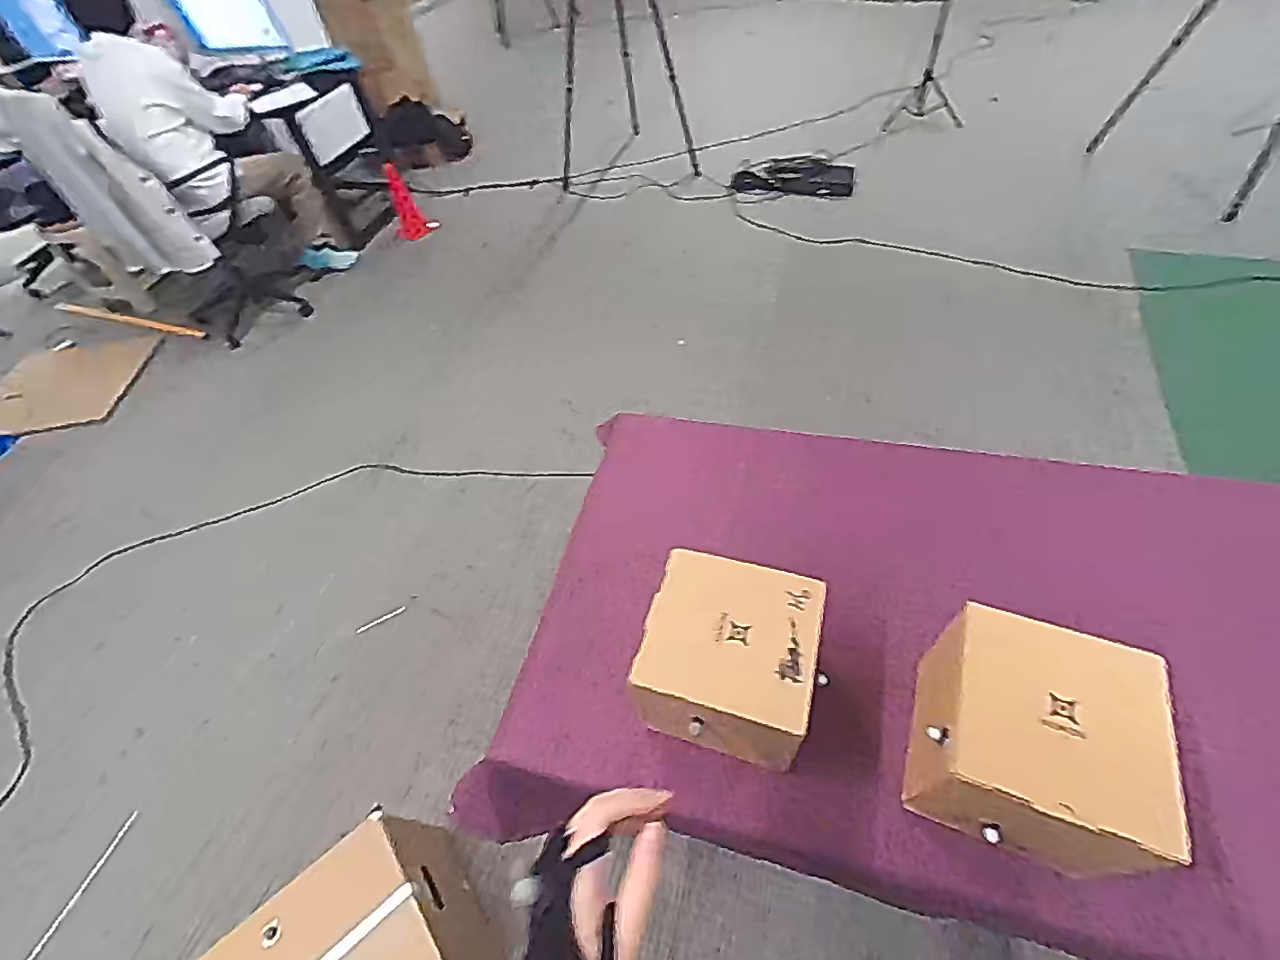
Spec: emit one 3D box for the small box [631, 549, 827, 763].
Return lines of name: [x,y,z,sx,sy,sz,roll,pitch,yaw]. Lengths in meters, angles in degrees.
small box: [0.107,0.206,0.626,0.179,0.176,0.168,11,55,17]

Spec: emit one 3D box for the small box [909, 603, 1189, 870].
small box: [0.389,0.259,0.547,0.168,0.176,0.179,15,57,19]
